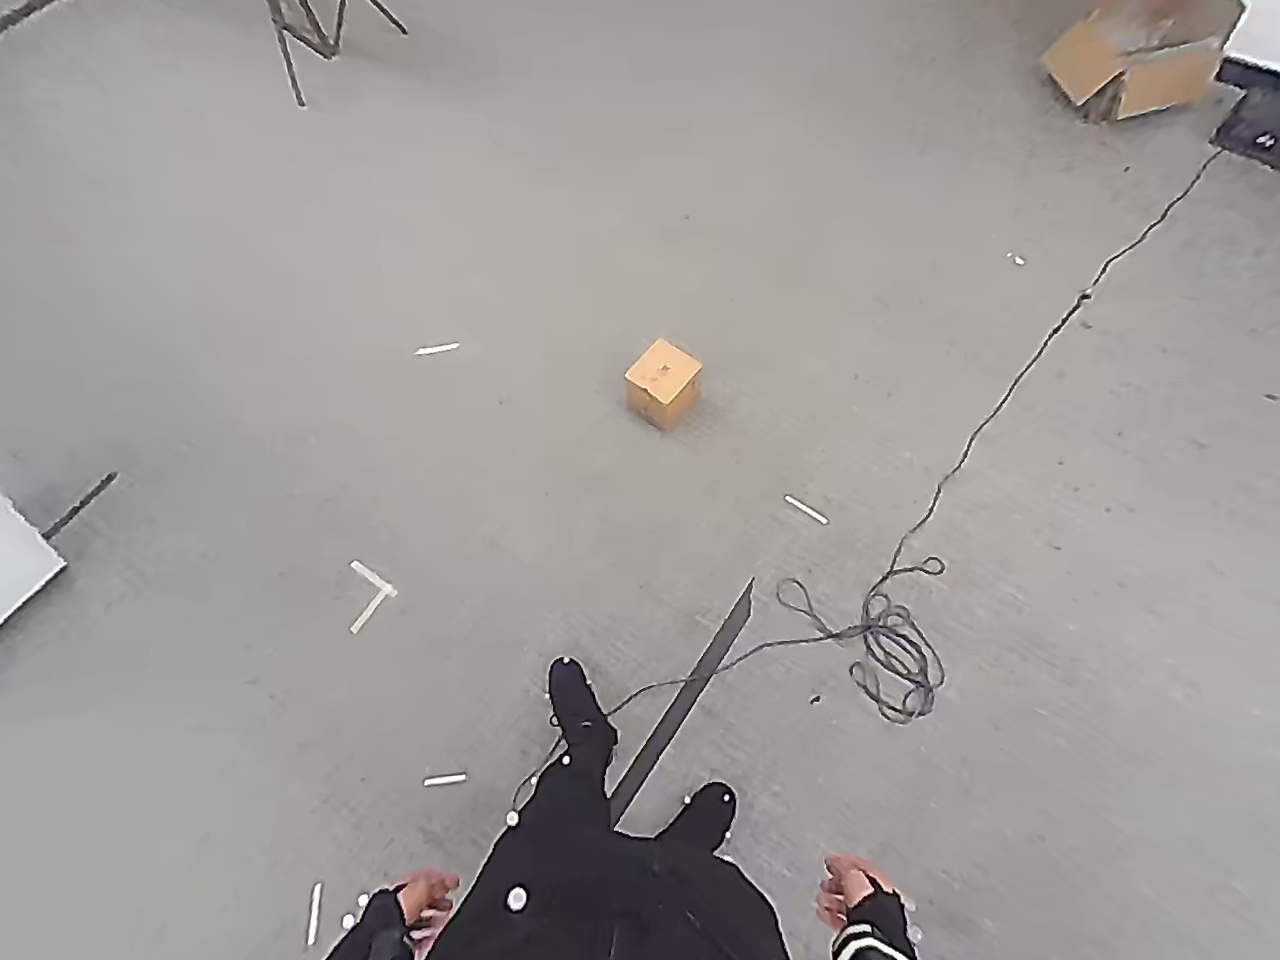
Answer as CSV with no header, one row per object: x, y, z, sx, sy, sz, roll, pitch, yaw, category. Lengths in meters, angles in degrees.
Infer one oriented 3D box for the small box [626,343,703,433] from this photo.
0.073,-0.280,1.671,0.168,0.176,0.179,37,74,16,small box
